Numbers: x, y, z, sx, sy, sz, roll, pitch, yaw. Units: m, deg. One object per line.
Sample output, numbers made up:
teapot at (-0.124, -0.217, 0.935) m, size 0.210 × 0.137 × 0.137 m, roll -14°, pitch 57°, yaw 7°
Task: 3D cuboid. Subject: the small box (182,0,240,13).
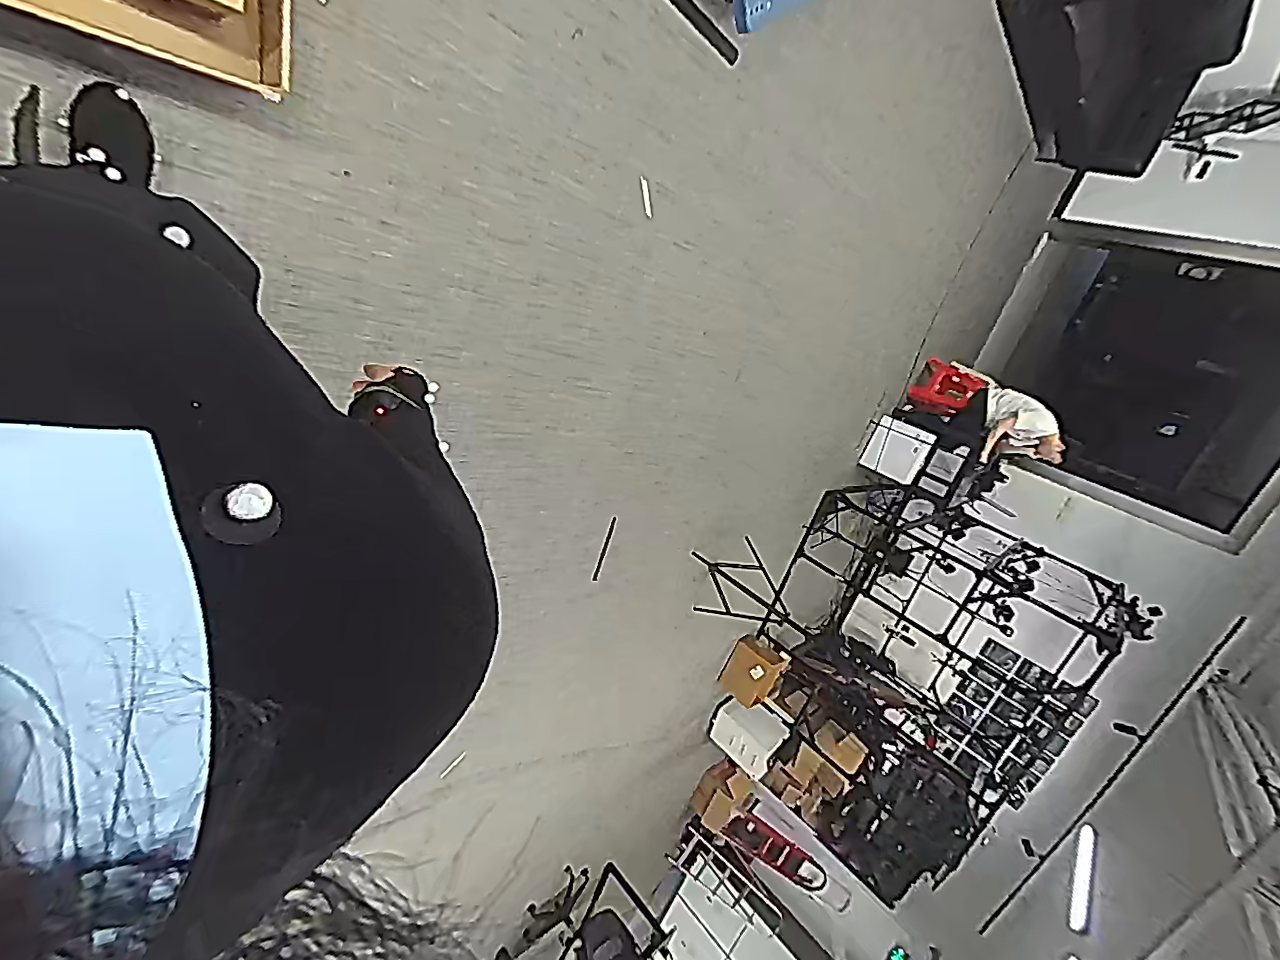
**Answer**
small box at (-0.726, -0.856, 0.825) m, size 0.168 × 0.176 × 0.179 m, roll -7°, pitch 121°, yaw -47°
